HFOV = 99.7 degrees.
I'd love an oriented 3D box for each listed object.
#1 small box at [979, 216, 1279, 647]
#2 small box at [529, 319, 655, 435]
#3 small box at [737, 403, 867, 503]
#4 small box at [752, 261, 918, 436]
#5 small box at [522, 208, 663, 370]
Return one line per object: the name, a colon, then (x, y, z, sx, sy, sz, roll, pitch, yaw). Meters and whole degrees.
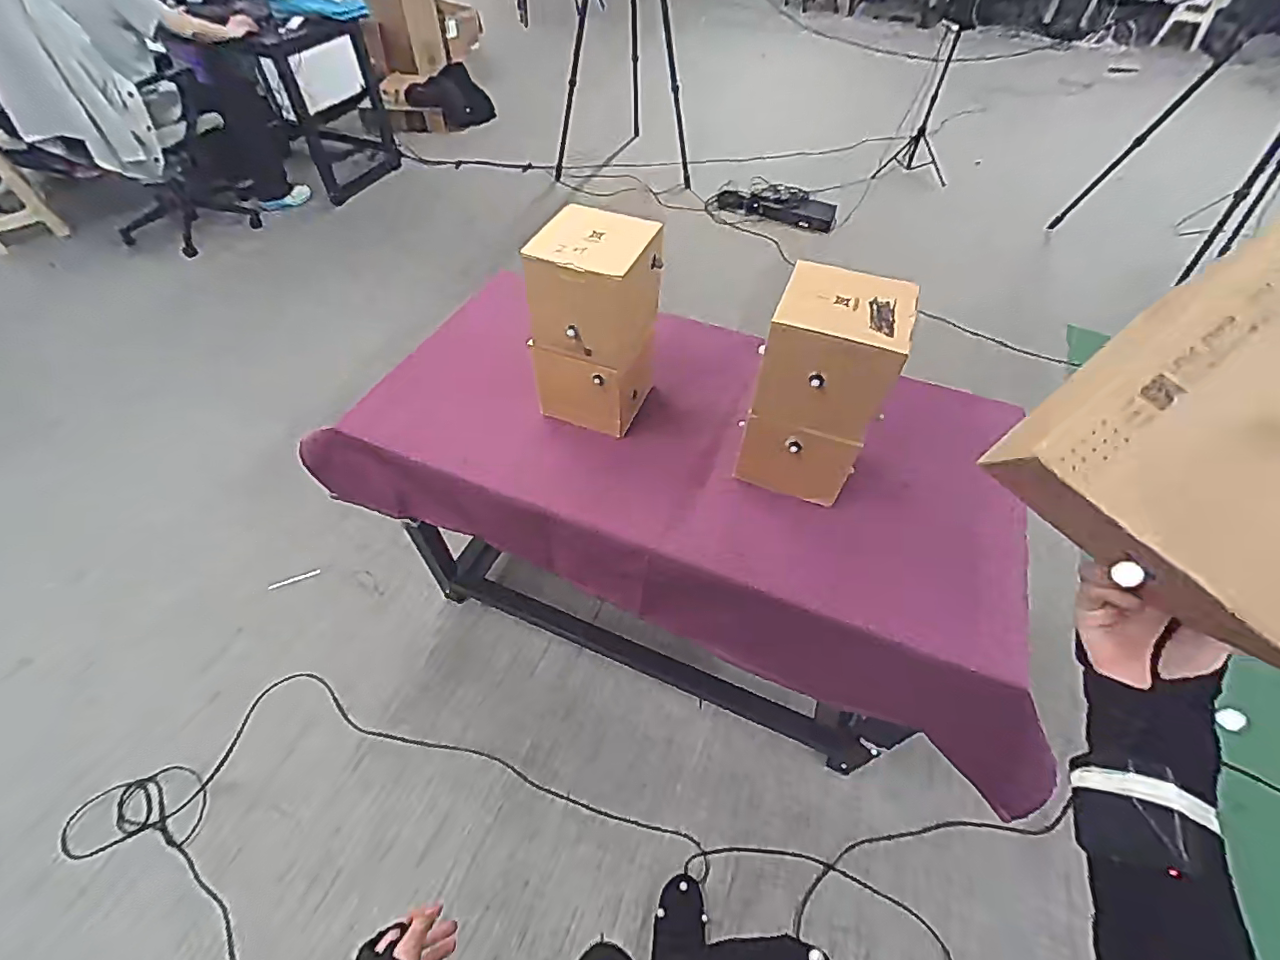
small box: (0.348, -0.026, 0.331, 0.176, 0.179, 0.168, 46, 106, 18)
small box: (-0.083, -0.208, 1.015, 0.179, 0.176, 0.168, 18, 53, 12)
small box: (0.276, -0.085, 0.920, 0.179, 0.176, 0.168, 19, 54, 13)
small box: (0.278, -0.188, 0.792, 0.179, 0.176, 0.168, 17, 54, 14)
small box: (-0.073, -0.312, 0.887, 0.168, 0.176, 0.179, 17, 53, 13)
